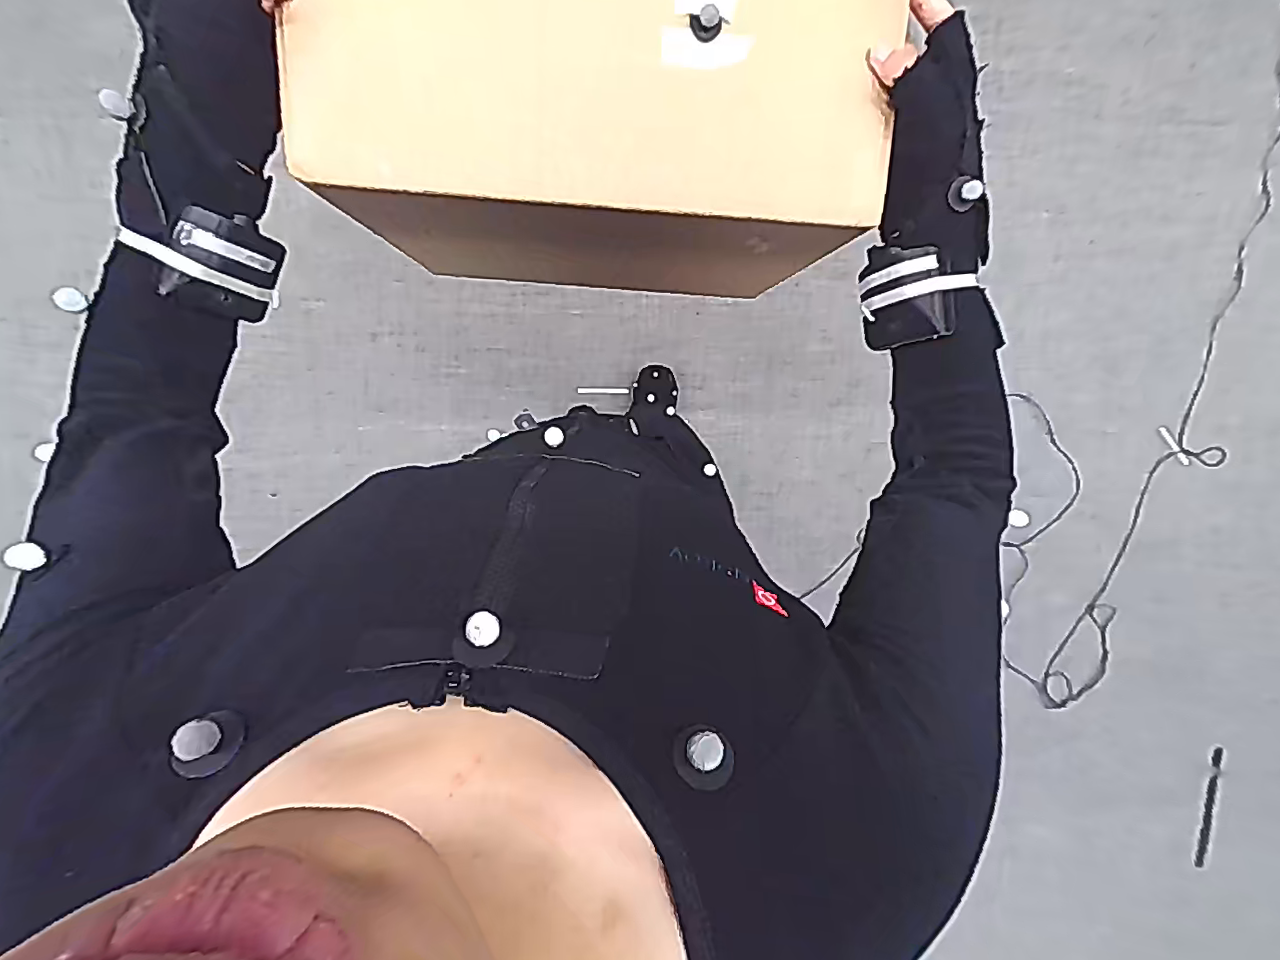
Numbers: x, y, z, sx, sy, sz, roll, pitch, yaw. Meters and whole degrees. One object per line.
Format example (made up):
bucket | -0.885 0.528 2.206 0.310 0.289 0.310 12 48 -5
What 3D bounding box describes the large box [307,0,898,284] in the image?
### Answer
large box | -0.030 -0.378 0.504 0.408 0.320 0.320 2 100 -5
